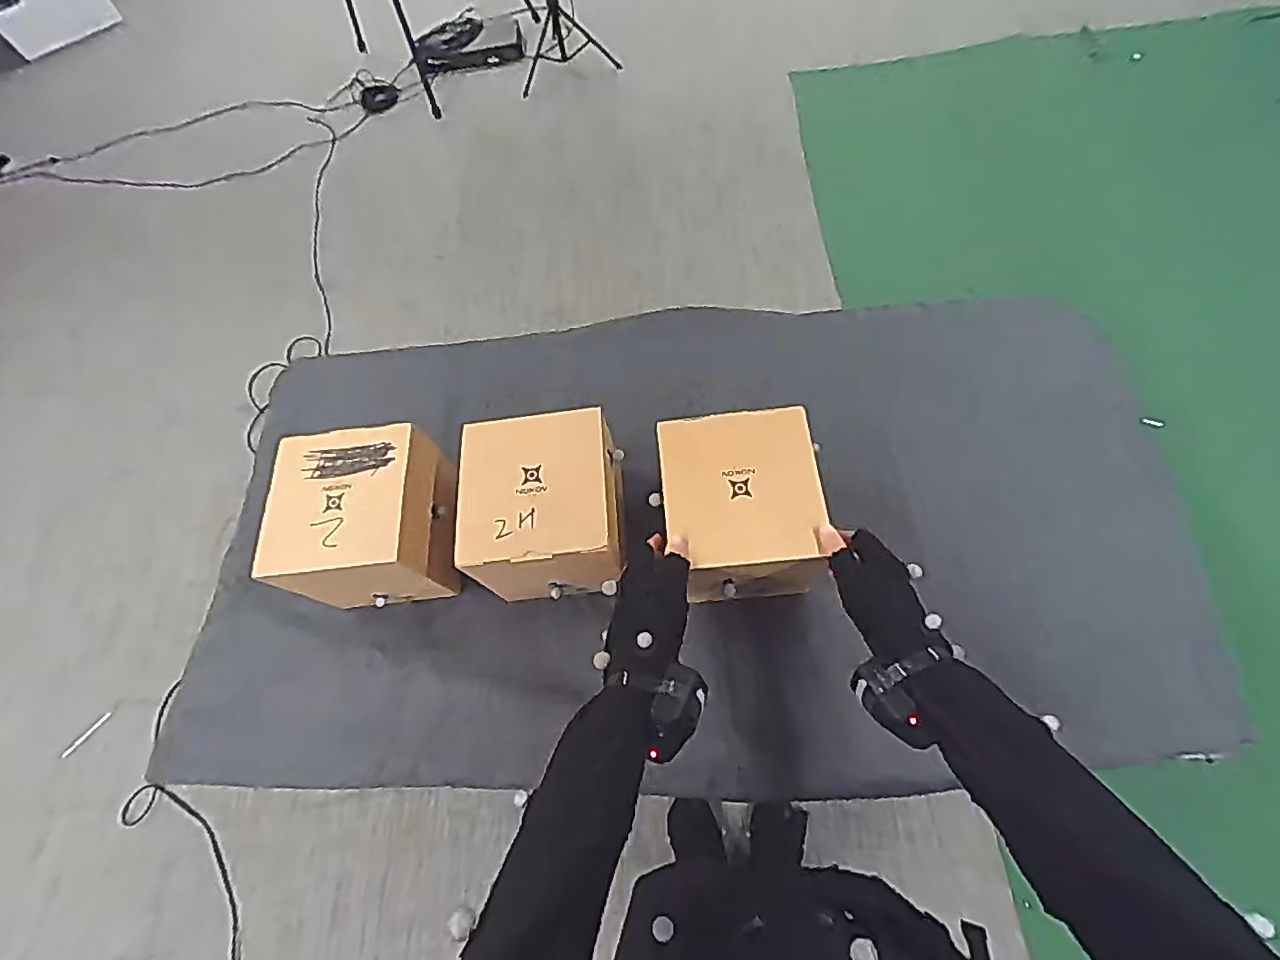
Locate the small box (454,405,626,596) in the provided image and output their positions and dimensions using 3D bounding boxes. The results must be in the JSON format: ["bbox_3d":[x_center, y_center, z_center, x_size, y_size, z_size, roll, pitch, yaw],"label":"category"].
[{"bbox_3d":[-0.111,0.032,0.666,0.168,0.176,0.179,-7,65,4],"label":"small box"}]

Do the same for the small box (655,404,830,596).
[{"bbox_3d":[0.112,0.035,0.640,0.168,0.176,0.179,-6,65,4],"label":"small box"}]
